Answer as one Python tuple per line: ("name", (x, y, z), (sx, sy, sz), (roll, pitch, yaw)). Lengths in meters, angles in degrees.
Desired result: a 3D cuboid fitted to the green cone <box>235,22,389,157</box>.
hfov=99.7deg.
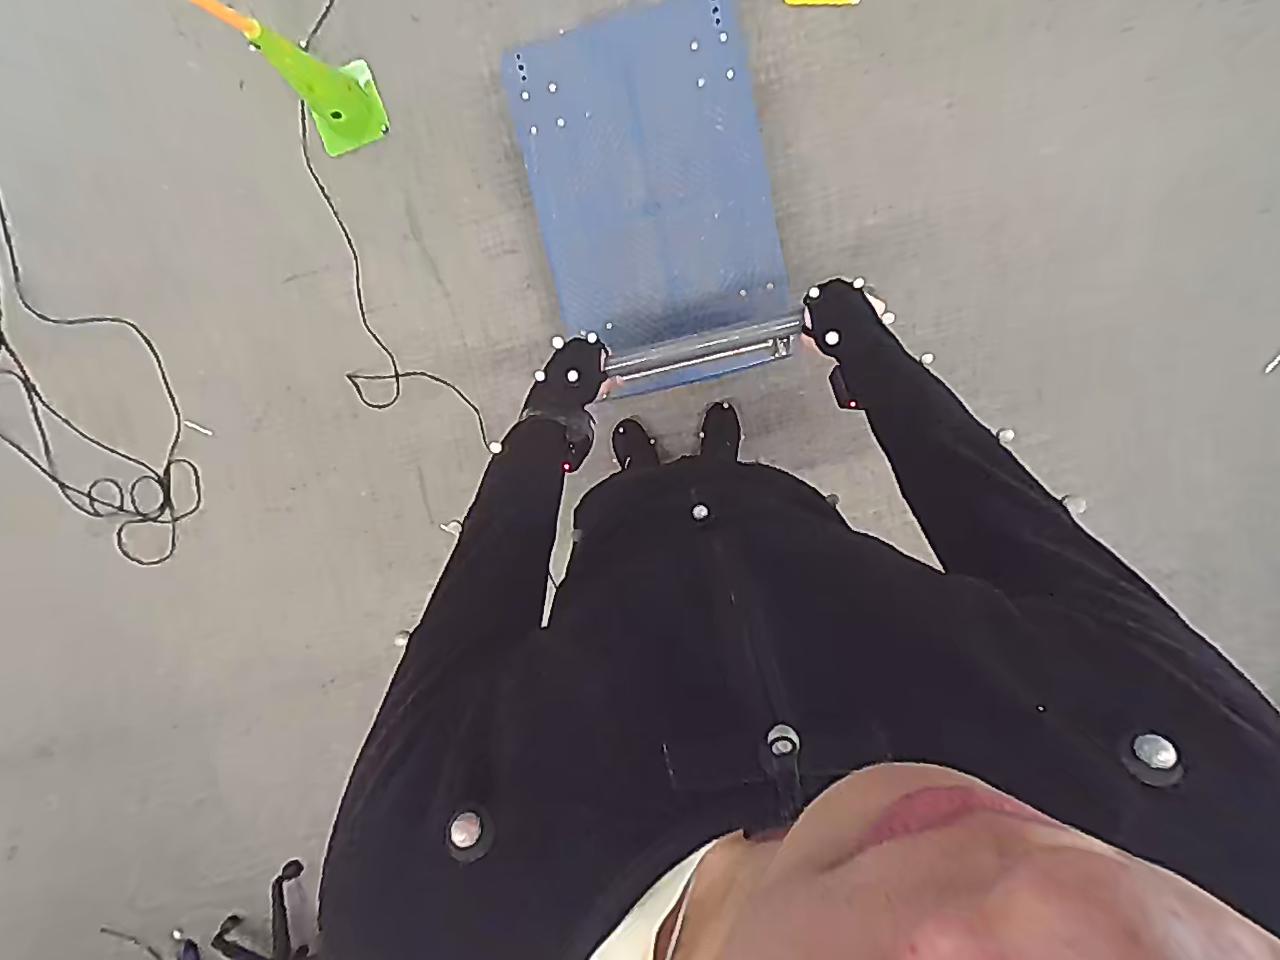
("green cone", (-0.829, -0.998, 1.332), (0.202, 0.368, 0.200), (-18, 98, 8))
